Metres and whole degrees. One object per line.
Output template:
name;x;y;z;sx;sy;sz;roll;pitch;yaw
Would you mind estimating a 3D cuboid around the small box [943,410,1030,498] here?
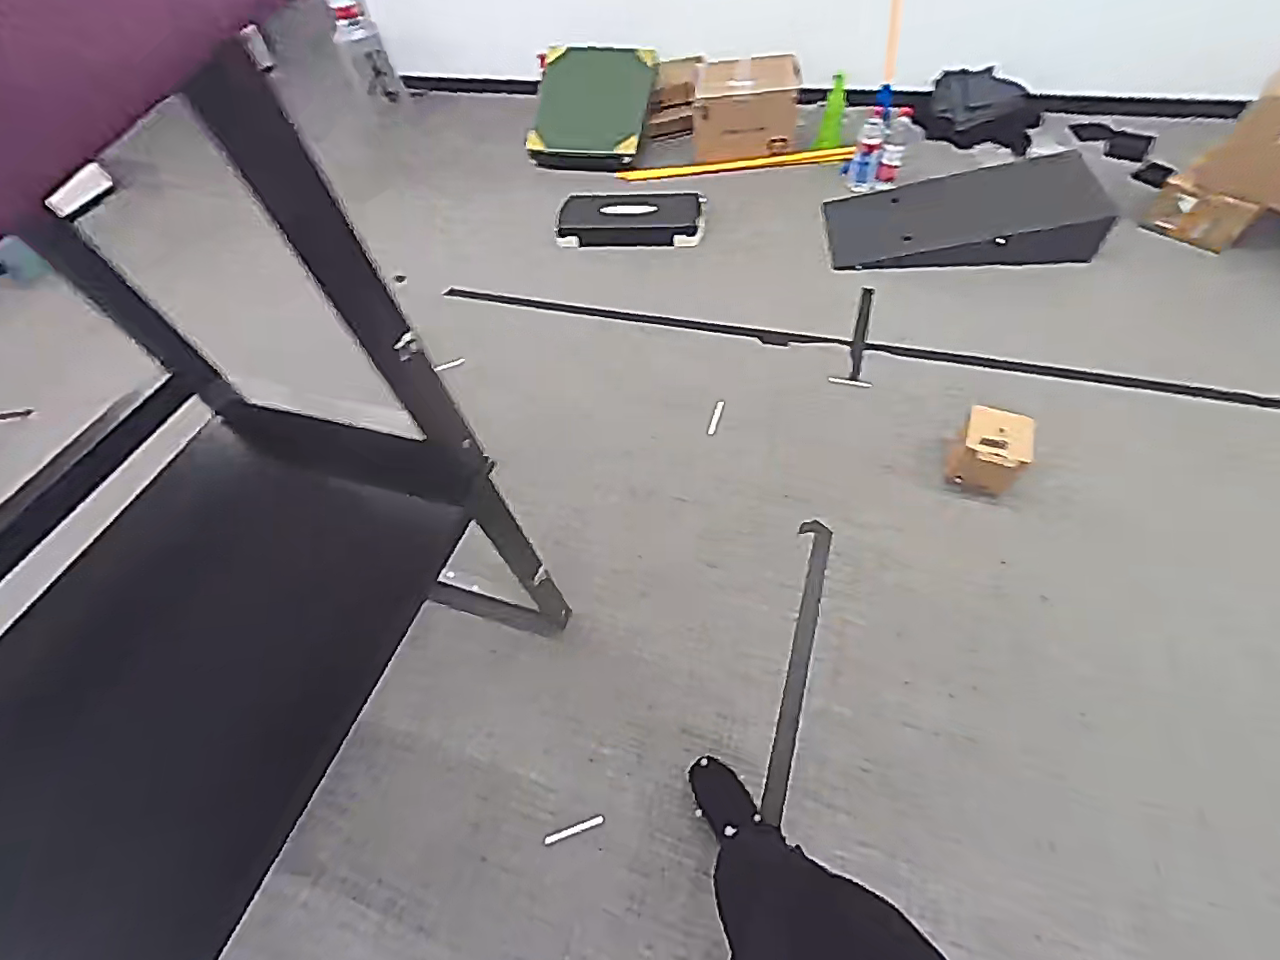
small box;1.021;-0.074;1.603;0.168;0.176;0.179;18;59;17
